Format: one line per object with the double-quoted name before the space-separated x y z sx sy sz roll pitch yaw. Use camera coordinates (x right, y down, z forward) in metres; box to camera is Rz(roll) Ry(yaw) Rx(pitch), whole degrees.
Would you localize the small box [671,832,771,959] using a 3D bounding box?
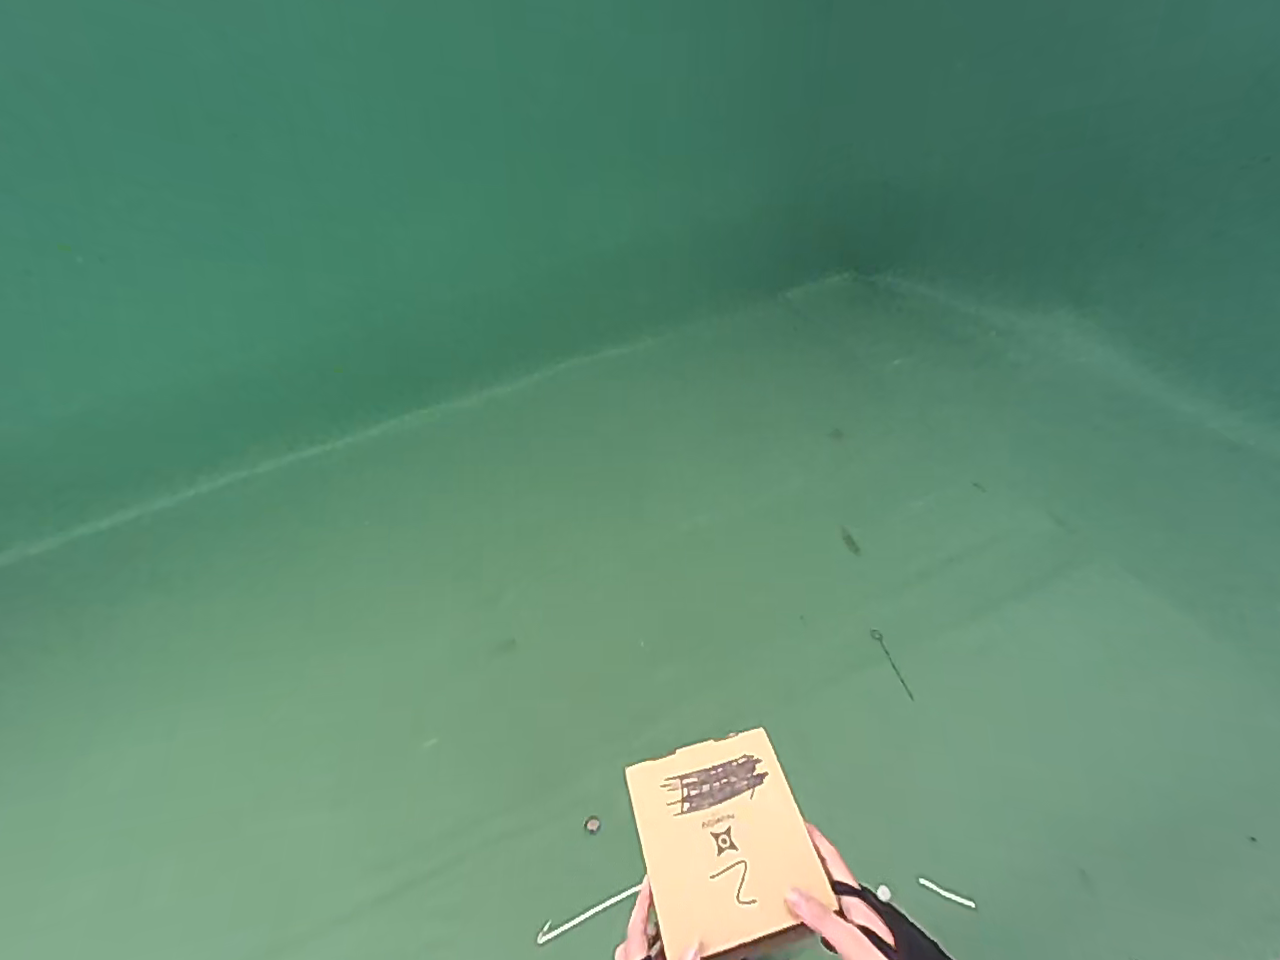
"small box" 0.182 0.953 1.240 0.168 0.176 0.179 -20 46 -9
